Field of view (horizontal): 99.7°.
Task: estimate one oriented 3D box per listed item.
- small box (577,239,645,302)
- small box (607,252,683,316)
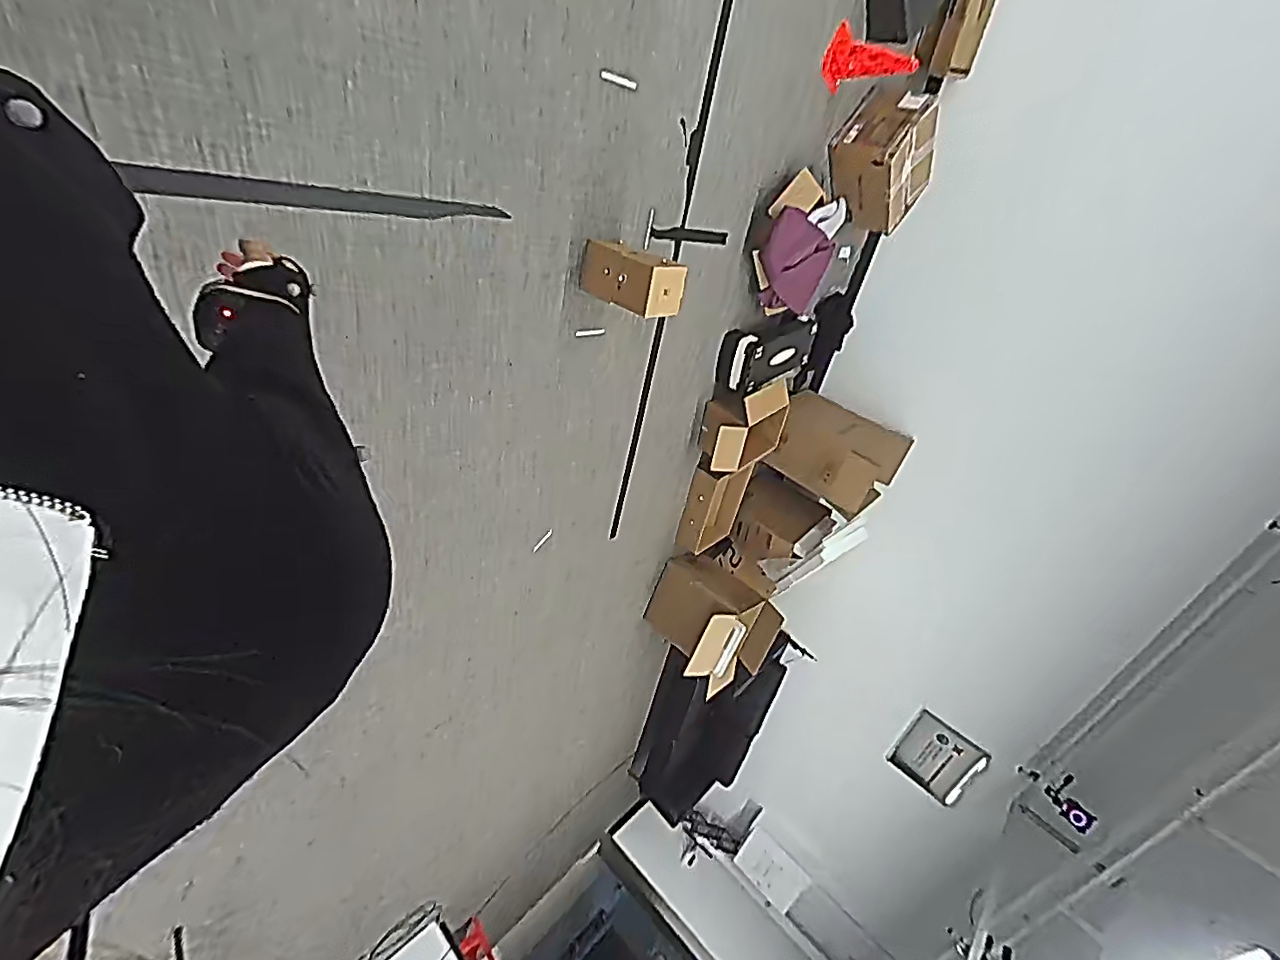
[{"bbox_3d":[-0.103,-0.746,1.925,0.168,0.176,0.179,-19,135,-45],"label":"small box"},{"bbox_3d":[0.015,-0.671,1.841,0.179,0.176,0.168,-22,135,-41],"label":"small box"}]
